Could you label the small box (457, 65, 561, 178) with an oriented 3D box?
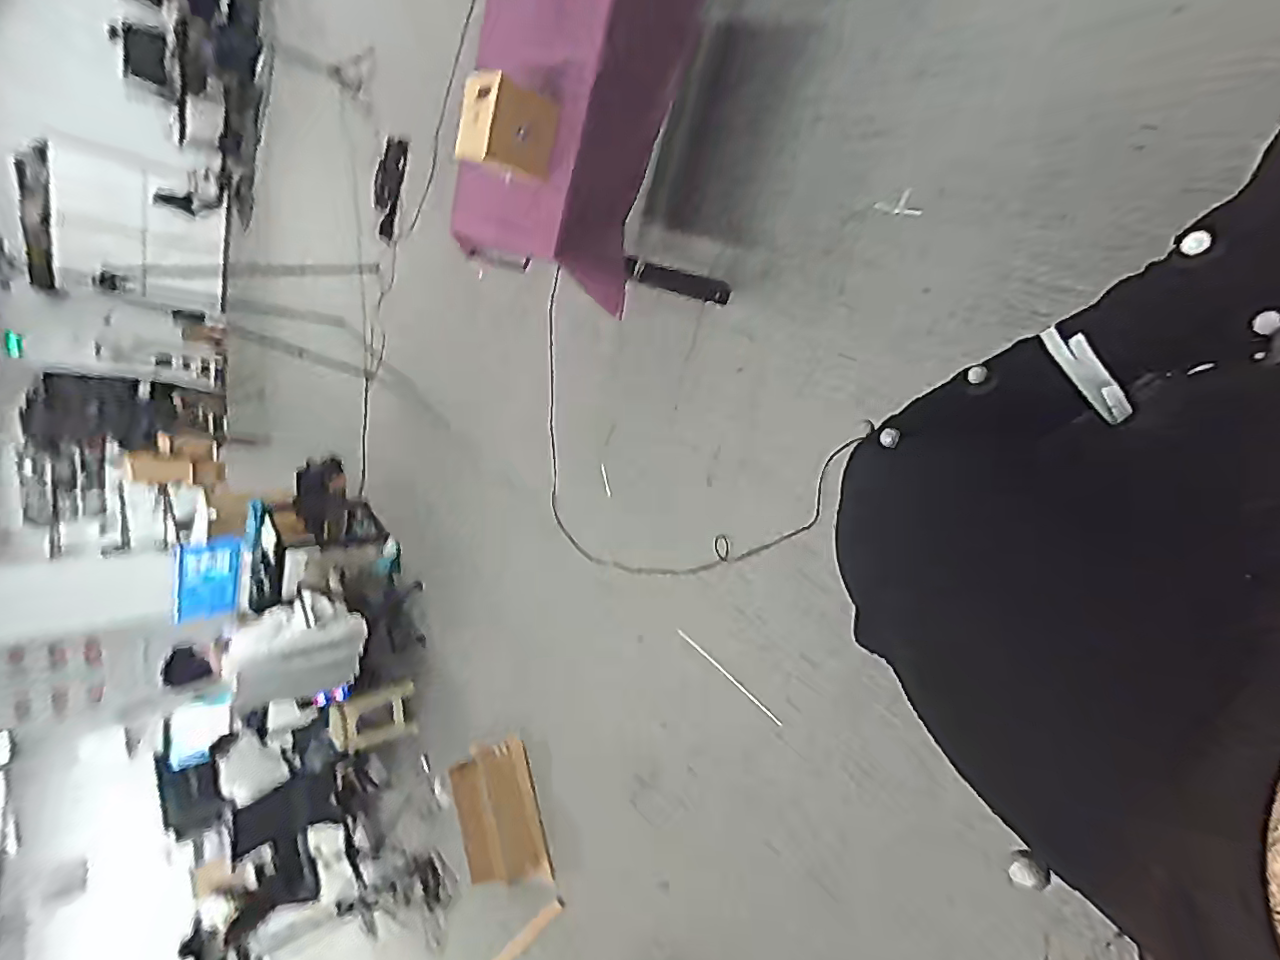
[{"bbox_3d":[-0.314,-0.863,1.308,0.168,0.176,0.179,36,116,38],"label":"small box"}]
